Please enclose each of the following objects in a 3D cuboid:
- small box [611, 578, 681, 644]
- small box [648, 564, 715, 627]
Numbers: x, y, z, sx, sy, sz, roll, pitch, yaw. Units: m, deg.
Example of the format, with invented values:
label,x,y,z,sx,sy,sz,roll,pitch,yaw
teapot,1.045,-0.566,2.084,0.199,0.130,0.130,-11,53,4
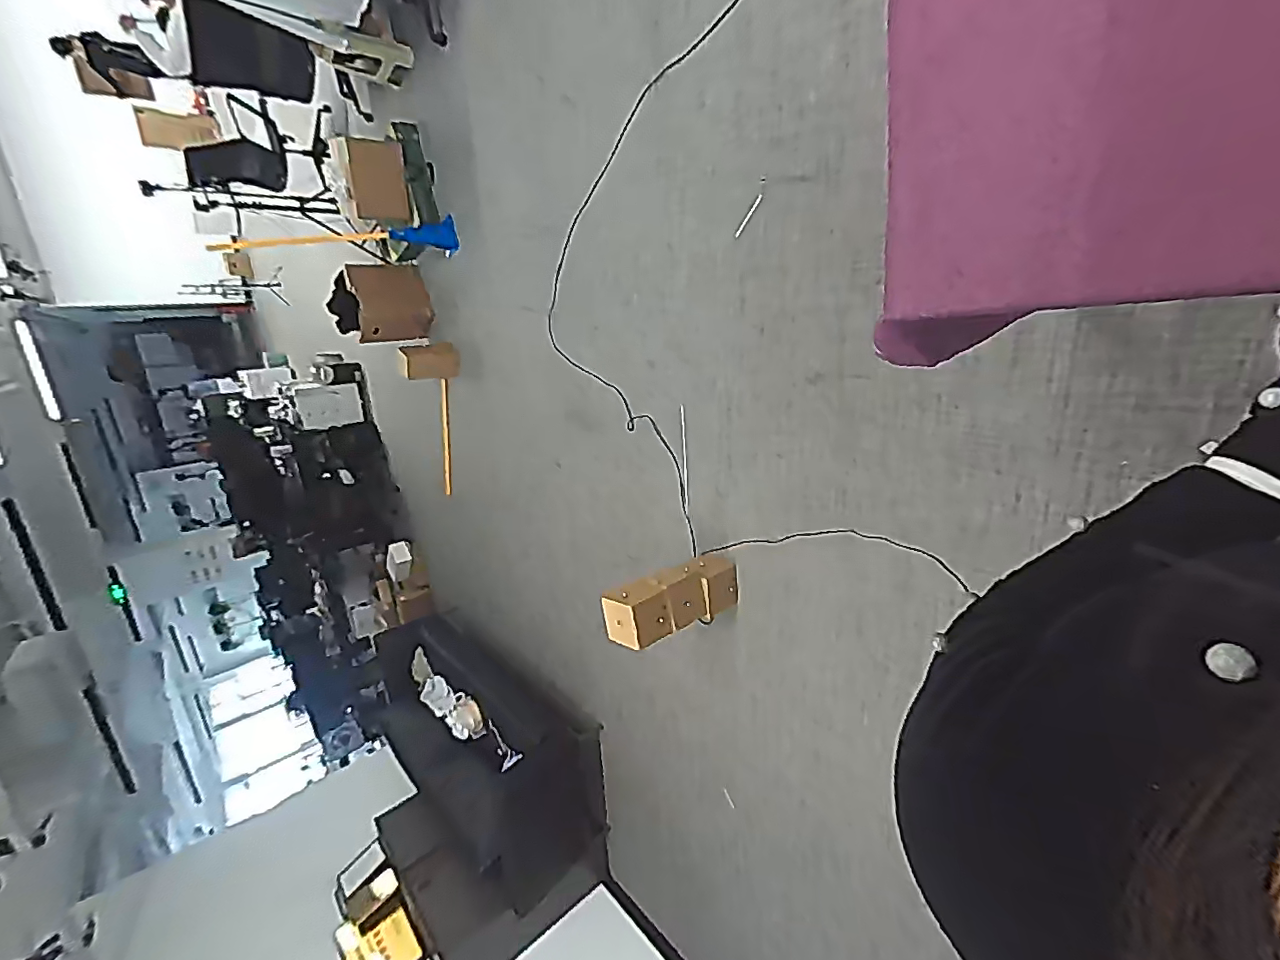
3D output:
label,x,y,z,sx,sy,sz,roll,pitch,yaw
small box,0.023,0.465,1.950,0.179,0.176,0.168,2,105,51
small box,0.157,0.428,2.036,0.168,0.176,0.179,-3,102,53
